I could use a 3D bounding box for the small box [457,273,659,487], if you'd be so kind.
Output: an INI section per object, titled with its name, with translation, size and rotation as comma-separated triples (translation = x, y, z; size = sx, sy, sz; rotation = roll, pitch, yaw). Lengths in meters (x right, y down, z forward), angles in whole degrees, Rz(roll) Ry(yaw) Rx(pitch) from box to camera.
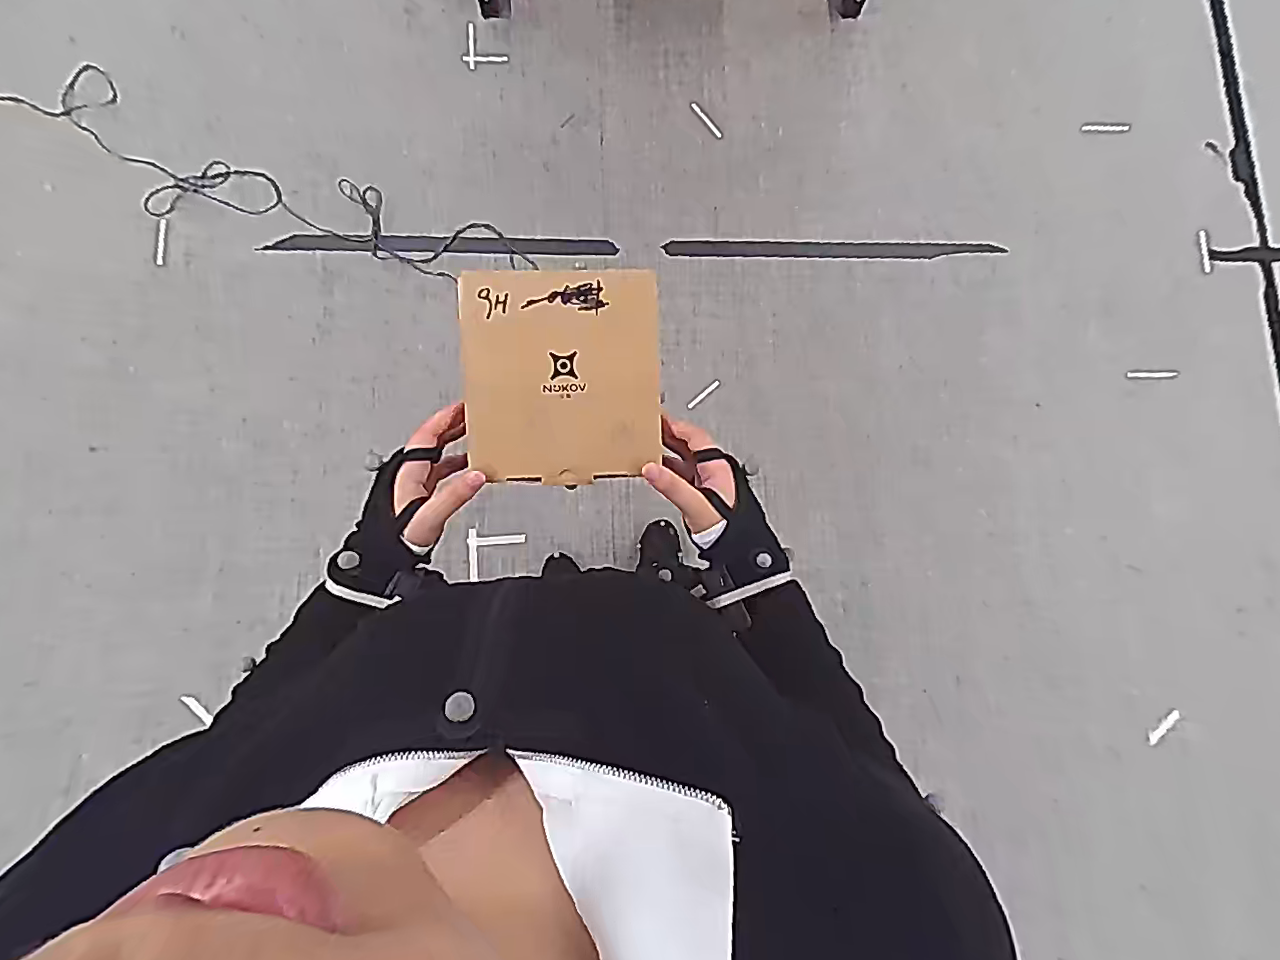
[small box]
translation = -0.071, -0.092, 0.530
size = 0.168, 0.176, 0.179
rotation = -3, 96, -5
